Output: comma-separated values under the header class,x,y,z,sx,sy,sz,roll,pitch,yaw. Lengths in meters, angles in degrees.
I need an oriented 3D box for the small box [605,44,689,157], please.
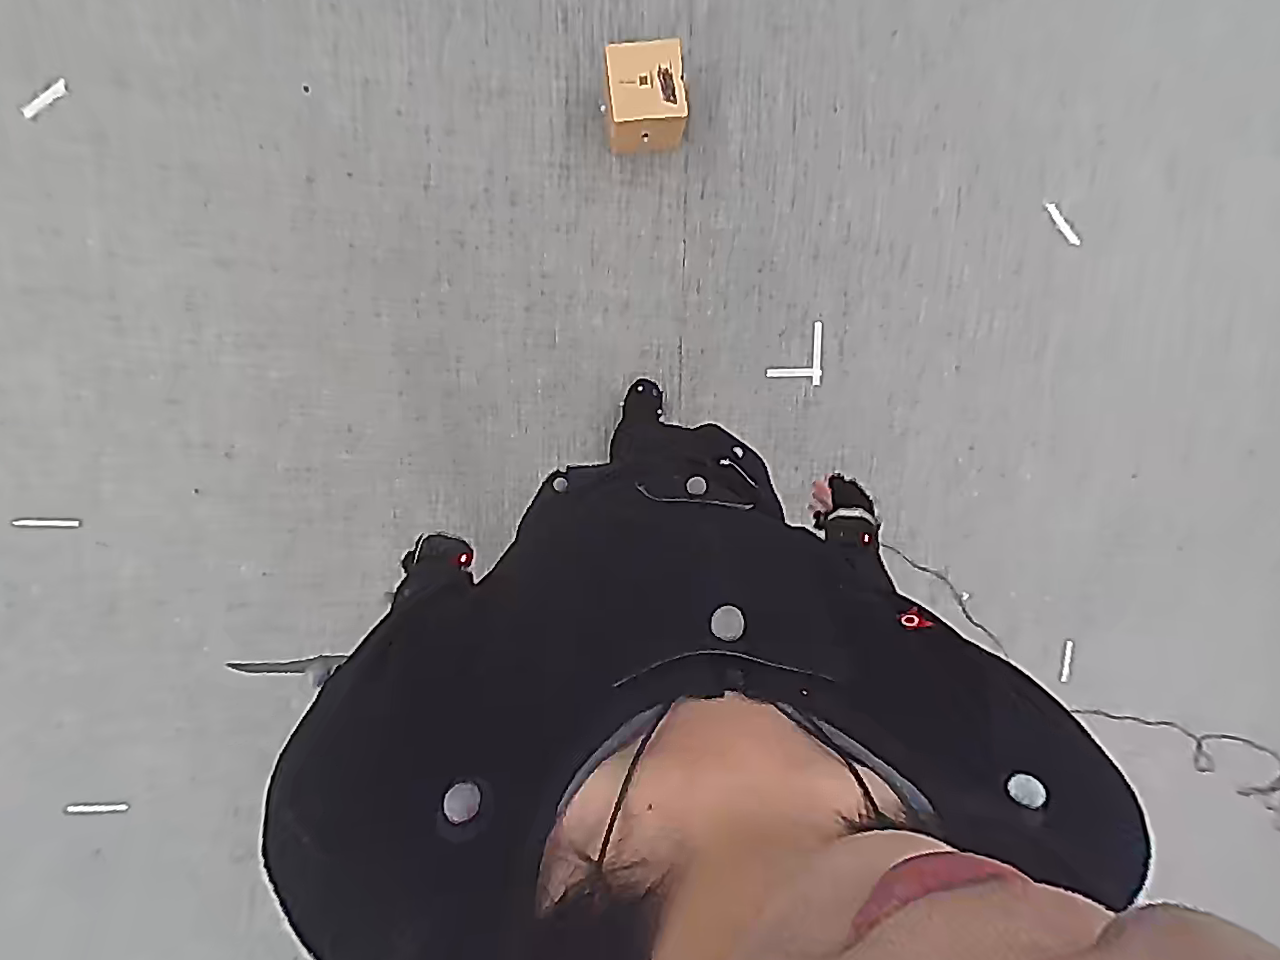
class,x,y,z,sx,sy,sz,roll,pitch,yaw
small box,0.012,-0.910,1.309,0.179,0.176,0.168,-7,98,-3
